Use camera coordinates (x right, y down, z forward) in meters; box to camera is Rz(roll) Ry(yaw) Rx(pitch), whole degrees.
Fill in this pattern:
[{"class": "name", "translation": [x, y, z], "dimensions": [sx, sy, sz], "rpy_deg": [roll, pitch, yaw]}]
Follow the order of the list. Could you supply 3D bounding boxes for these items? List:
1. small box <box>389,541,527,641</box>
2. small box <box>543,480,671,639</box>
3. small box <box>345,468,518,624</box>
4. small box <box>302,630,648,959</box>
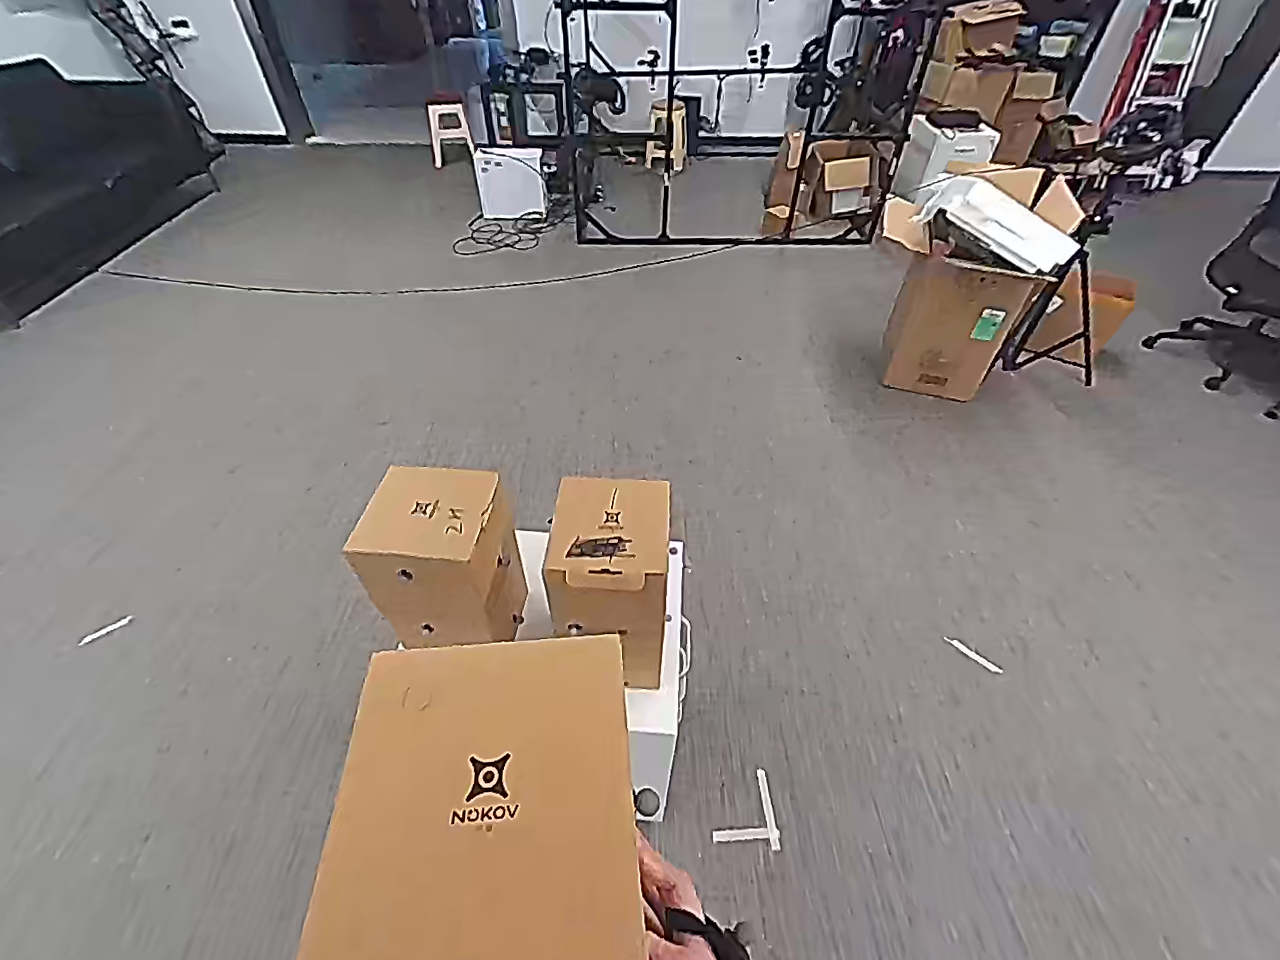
[{"class": "small box", "translation": [-0.301, 0.215, 0.941], "dimensions": [0.168, 0.176, 0.179], "rpy_deg": [4, 44, 4]}, {"class": "small box", "translation": [-0.039, 0.121, 0.809], "dimensions": [0.168, 0.176, 0.179], "rpy_deg": [3, 45, 2]}, {"class": "small box", "translation": [-0.299, 0.102, 0.821], "dimensions": [0.179, 0.176, 0.168], "rpy_deg": [4, 46, 3]}, {"class": "small box", "translation": [-0.088, 0.224, 0.369], "dimensions": [0.168, 0.176, 0.179], "rpy_deg": [-3, 49, -5]}]
